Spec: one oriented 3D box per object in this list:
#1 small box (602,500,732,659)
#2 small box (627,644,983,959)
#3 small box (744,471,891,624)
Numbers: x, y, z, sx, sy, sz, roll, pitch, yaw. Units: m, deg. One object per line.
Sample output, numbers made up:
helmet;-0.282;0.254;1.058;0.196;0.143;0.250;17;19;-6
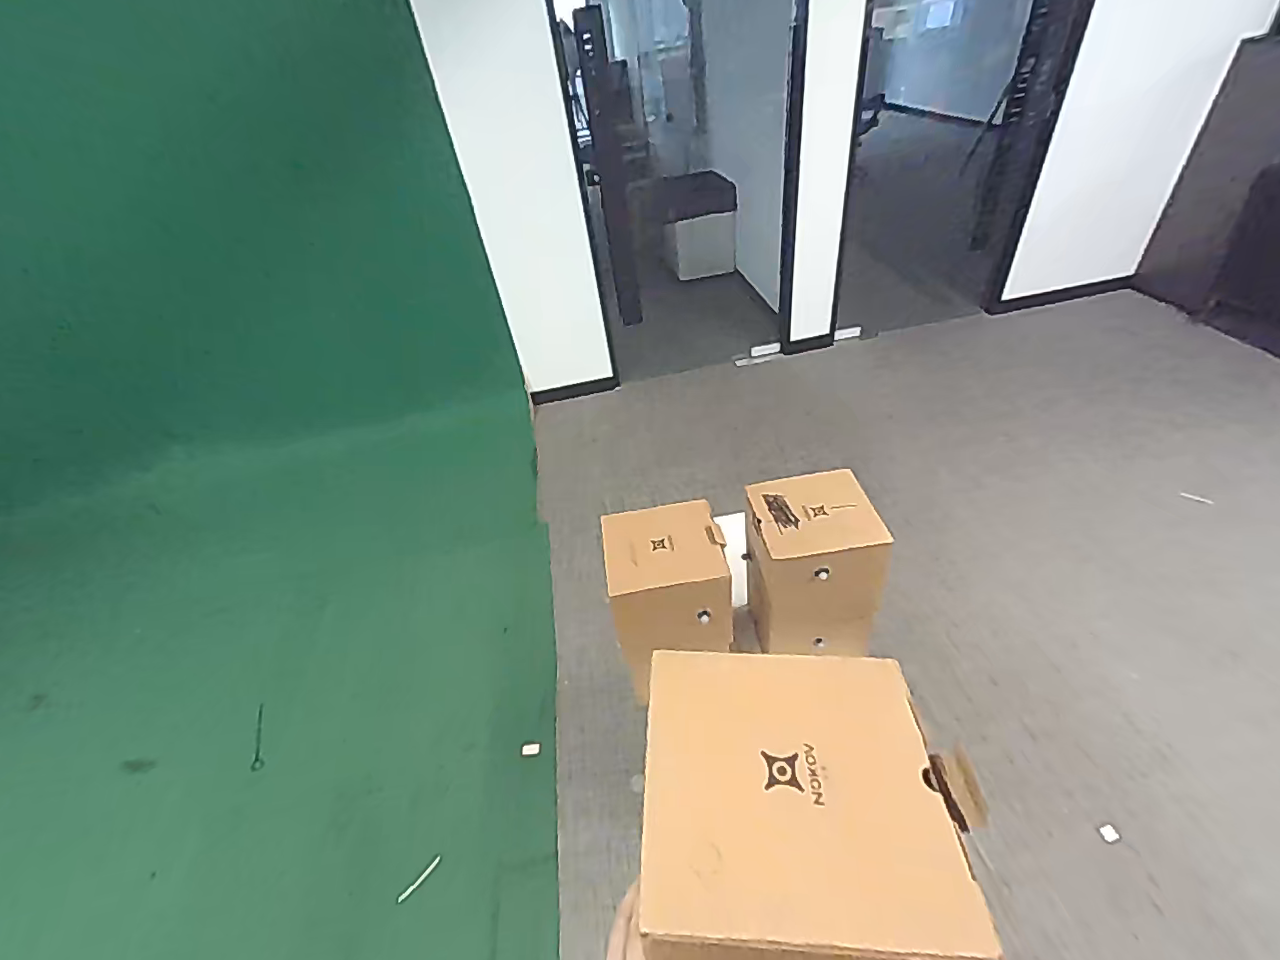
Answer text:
small box;0.041;0.158;0.854;0.179;0.176;0.168;-10;39;-1
small box;0.087;0.235;0.374;0.179;0.176;0.168;1;37;3
small box;0.271;0.111;0.863;0.179;0.176;0.168;-9;40;1
